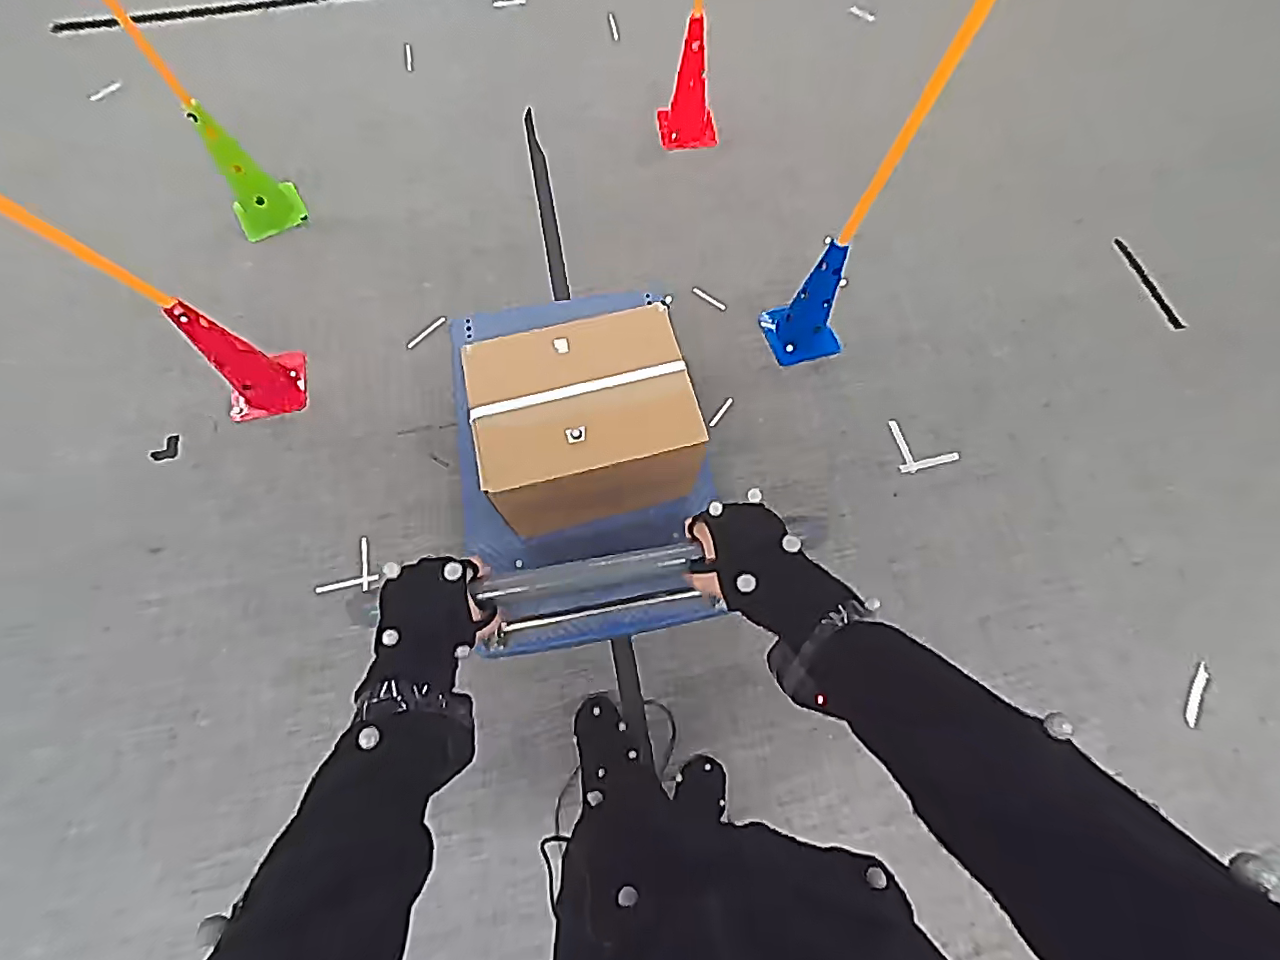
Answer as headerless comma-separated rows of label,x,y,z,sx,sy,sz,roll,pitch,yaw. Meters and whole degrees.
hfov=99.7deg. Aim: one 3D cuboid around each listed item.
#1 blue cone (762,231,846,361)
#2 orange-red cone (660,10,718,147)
blue cone,0.482,-0.509,1.474,0.193,0.380,0.192,-14,69,-7
orange-red cone,0.176,-1.318,1.763,0.199,0.360,0.198,-4,70,-3
